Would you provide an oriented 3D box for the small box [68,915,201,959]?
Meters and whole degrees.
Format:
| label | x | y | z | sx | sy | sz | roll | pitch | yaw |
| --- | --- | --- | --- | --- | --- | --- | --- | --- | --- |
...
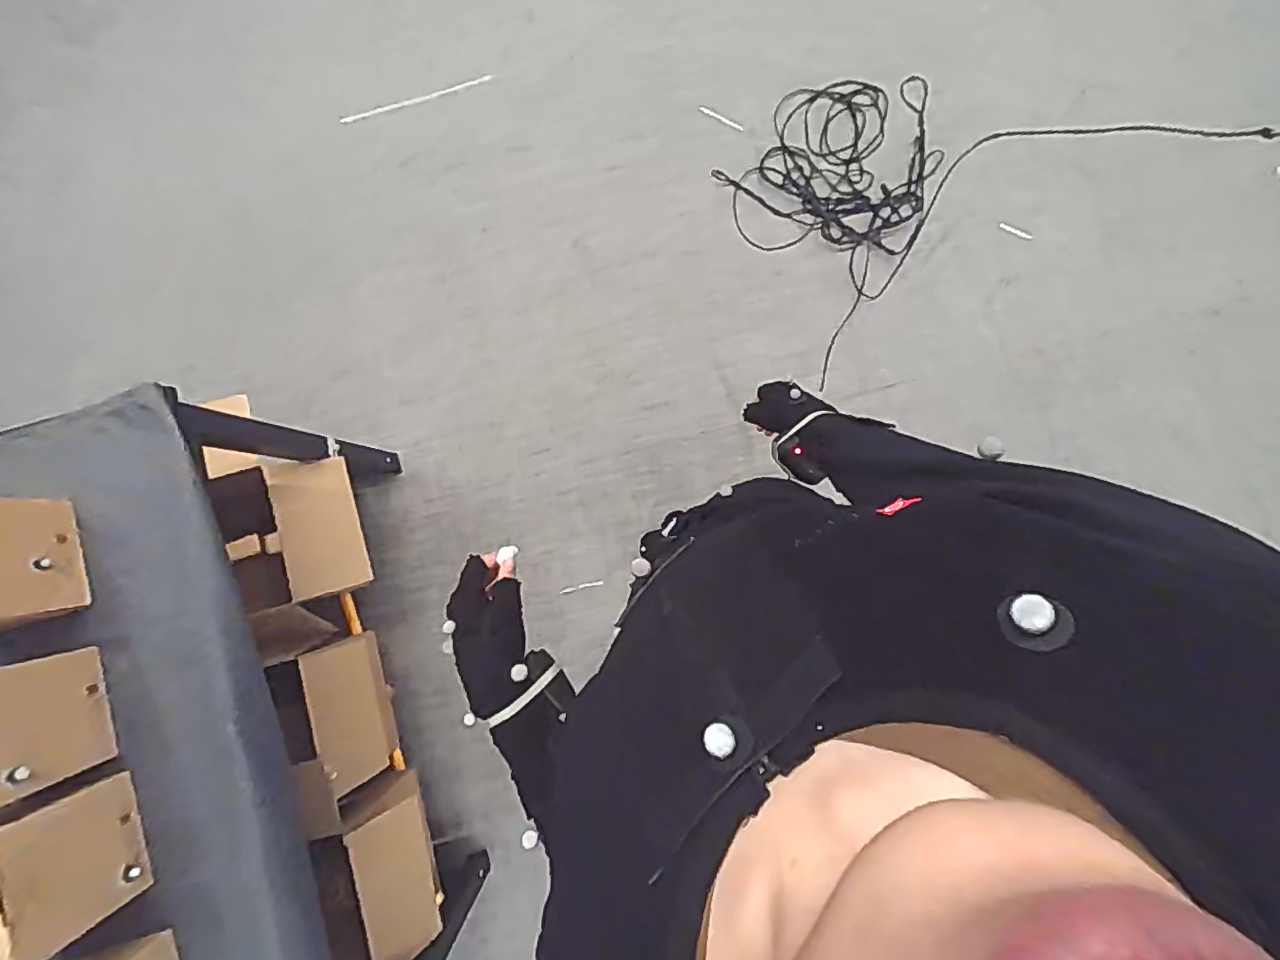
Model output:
| label | x | y | z | sx | sy | sz | roll | pitch | yaw |
| --- | --- | --- | --- | --- | --- | --- | --- | --- | --- |
| small box | -0.713 | 0.723 | 0.700 | 0.179 | 0.176 | 0.168 | -19 | 86 | 2 |

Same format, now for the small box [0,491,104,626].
| label | x | y | z | sx | sy | sz | roll | pitch | yaw |
| --- | --- | --- | --- | --- | --- | --- | --- | --- | --- |
| small box | -0.917 | 0.117 | 0.749 | 0.179 | 0.176 | 0.168 | -16 | 86 | 2 |
